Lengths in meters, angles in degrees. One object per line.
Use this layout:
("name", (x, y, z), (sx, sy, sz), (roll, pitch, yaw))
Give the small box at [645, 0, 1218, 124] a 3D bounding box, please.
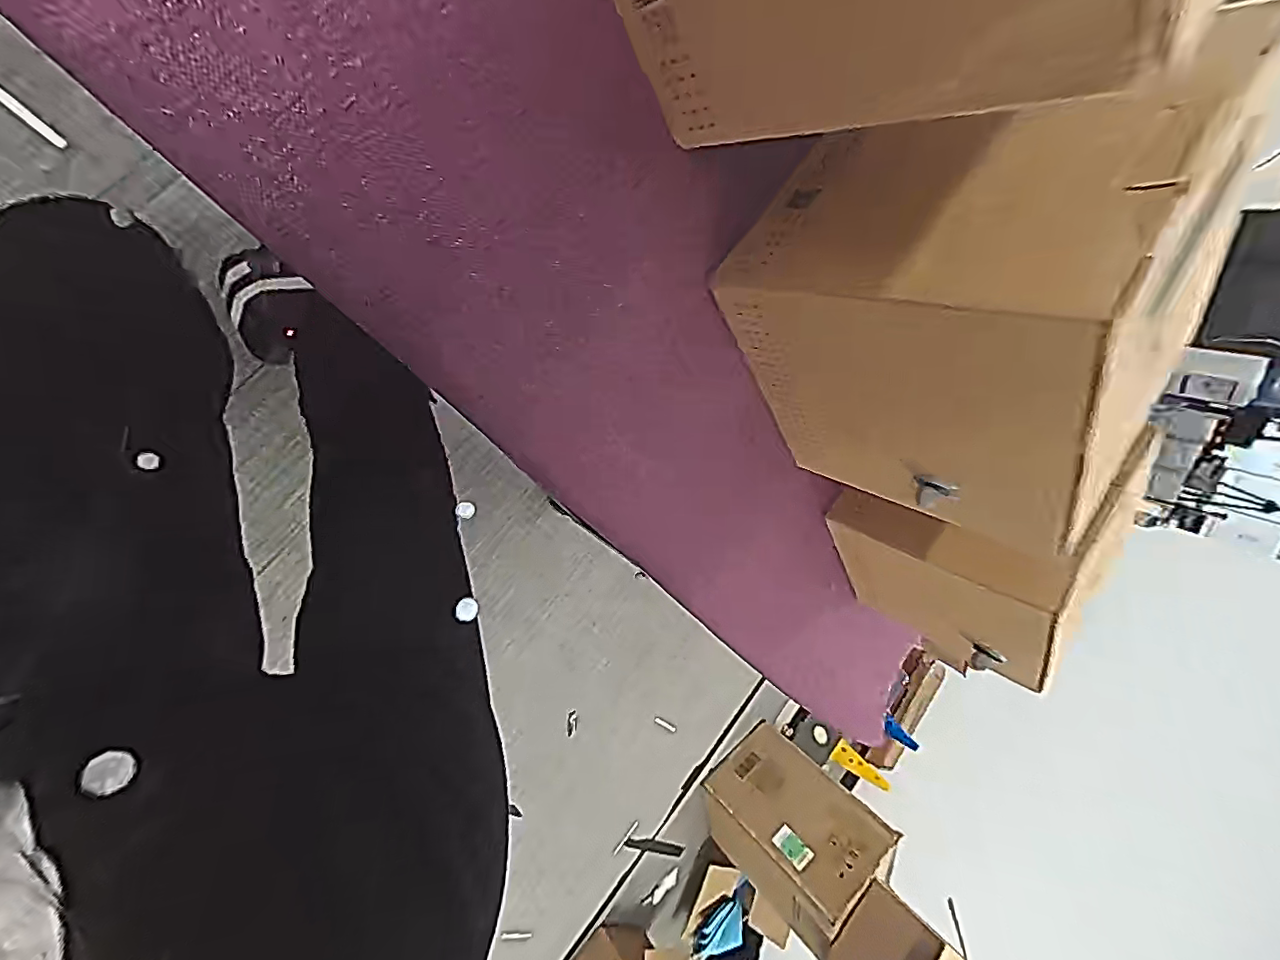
("small box", (0.088, -0.235, 0.150), (0.179, 0.176, 0.168), (-53, 137, -11))
